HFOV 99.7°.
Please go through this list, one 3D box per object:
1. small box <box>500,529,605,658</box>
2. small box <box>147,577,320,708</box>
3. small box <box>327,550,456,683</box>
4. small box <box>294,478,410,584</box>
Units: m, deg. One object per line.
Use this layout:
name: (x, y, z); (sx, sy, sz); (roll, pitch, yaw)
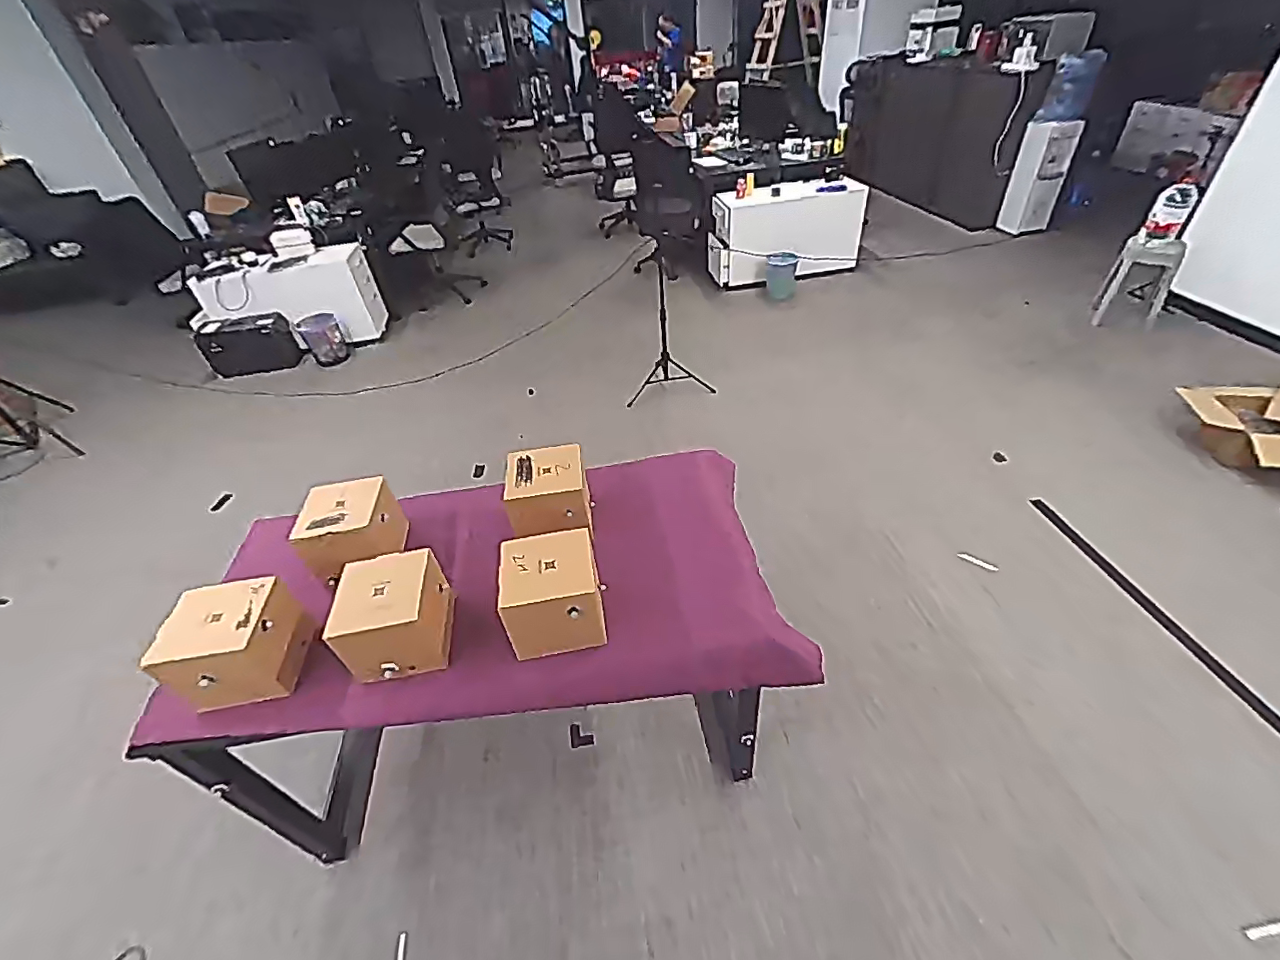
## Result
small box: (-0.166, 0.224, 1.064); (0.179, 0.176, 0.168); (-10, 40, -3)
small box: (-0.763, 0.314, 1.039); (0.179, 0.176, 0.168); (-9, 41, -3)
small box: (-0.471, 0.268, 1.060); (0.168, 0.176, 0.179); (-10, 42, -3)
small box: (-0.652, 0.124, 1.250); (0.168, 0.176, 0.179); (-9, 40, -4)
